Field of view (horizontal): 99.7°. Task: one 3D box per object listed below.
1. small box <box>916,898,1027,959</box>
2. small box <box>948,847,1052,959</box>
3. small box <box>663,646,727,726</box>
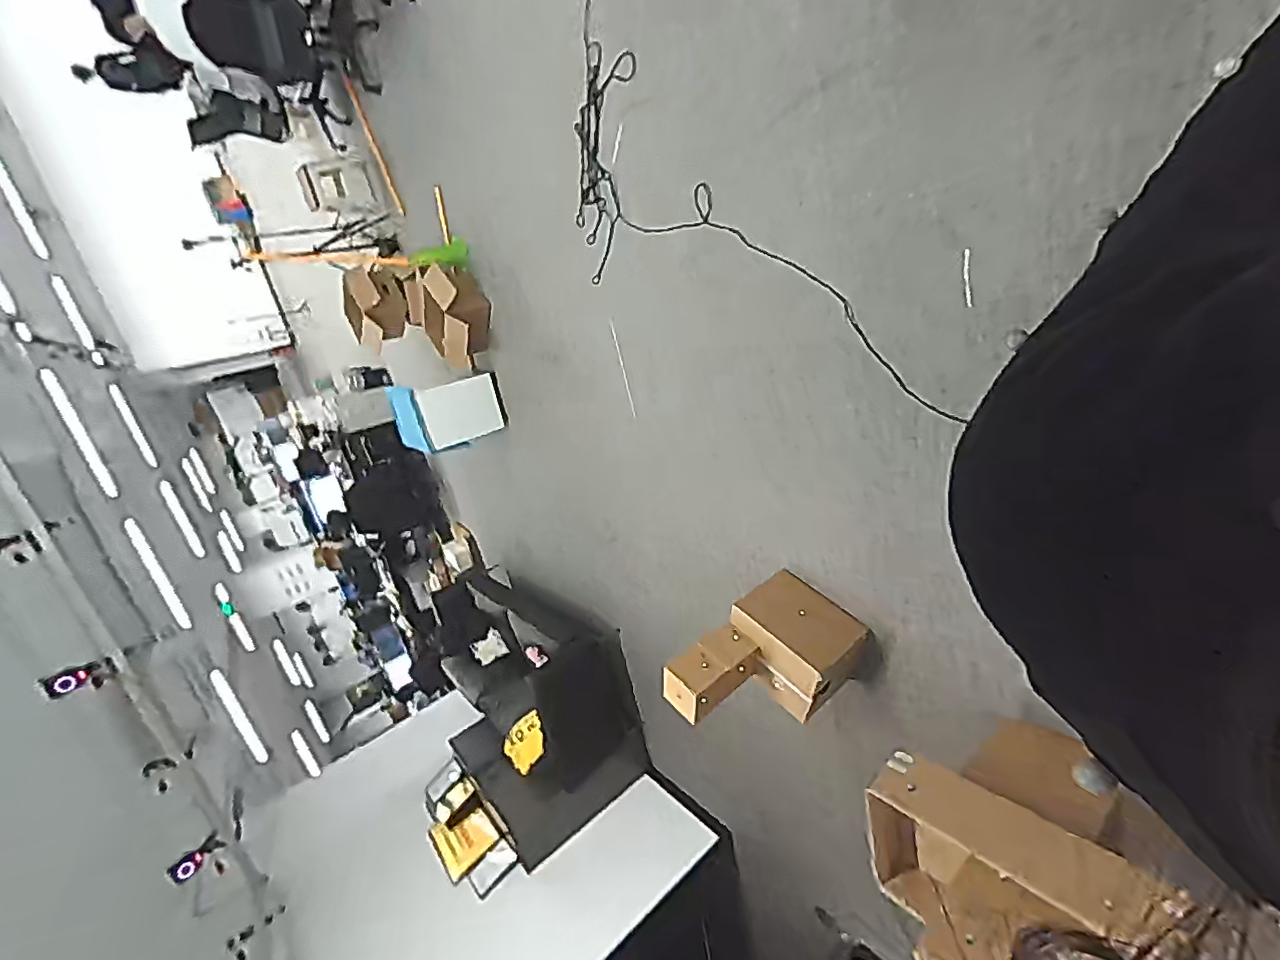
[{"bbox_3d":[0.753,1.113,1.223,0.168,0.176,0.179,7,115,54],"label":"small box"},{"bbox_3d":[0.877,1.058,1.315,0.168,0.176,0.179,9,117,52],"label":"small box"},{"bbox_3d":[0.202,0.747,1.976,0.168,0.176,0.179,33,135,40],"label":"small box"}]
